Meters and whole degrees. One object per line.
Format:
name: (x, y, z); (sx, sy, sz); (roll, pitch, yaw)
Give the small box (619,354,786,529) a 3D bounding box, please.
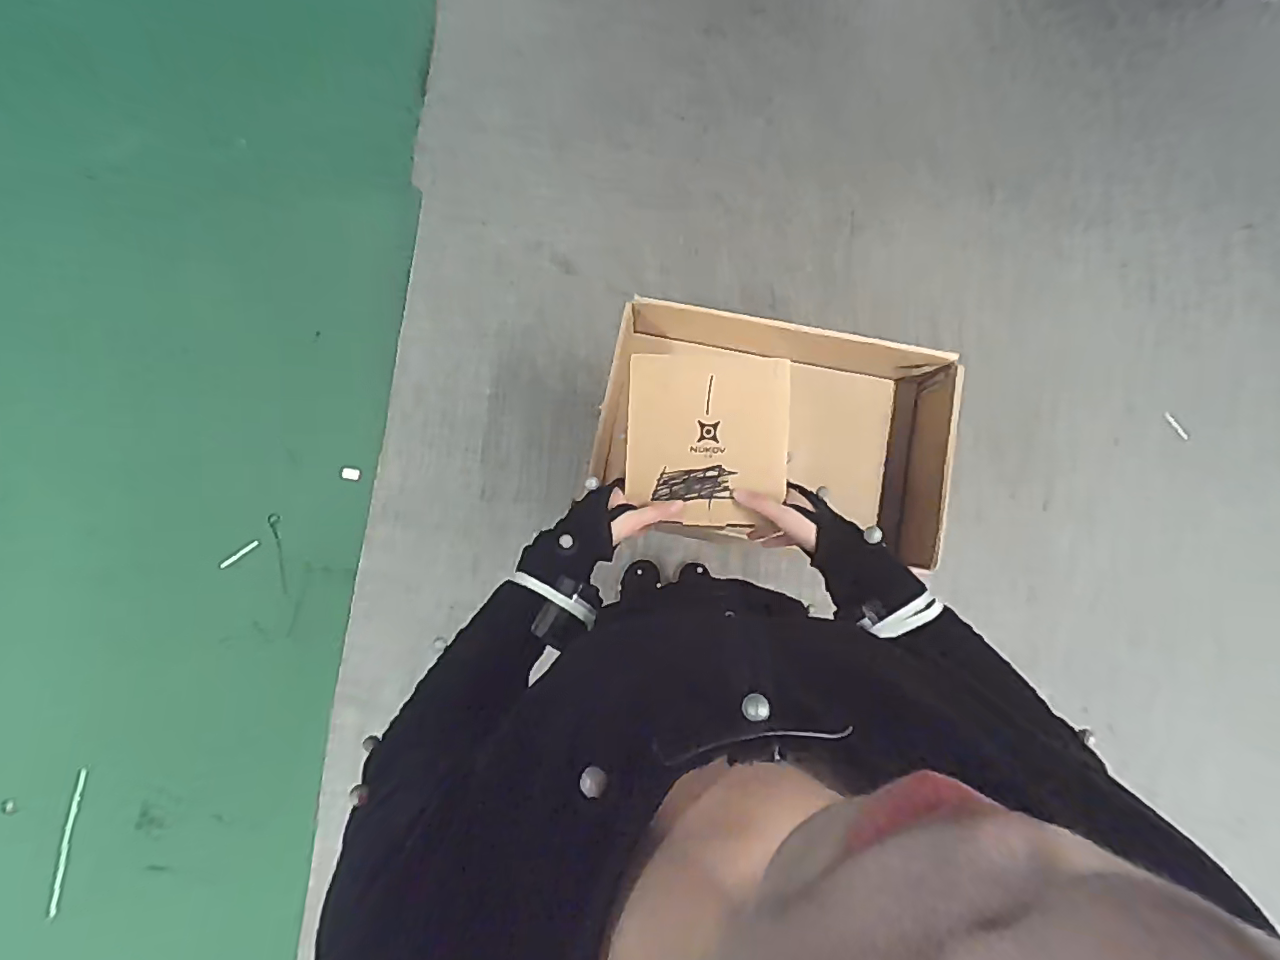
small box: (0.068, -0.039, 0.632); (0.168, 0.176, 0.179); (2, 89, 2)
